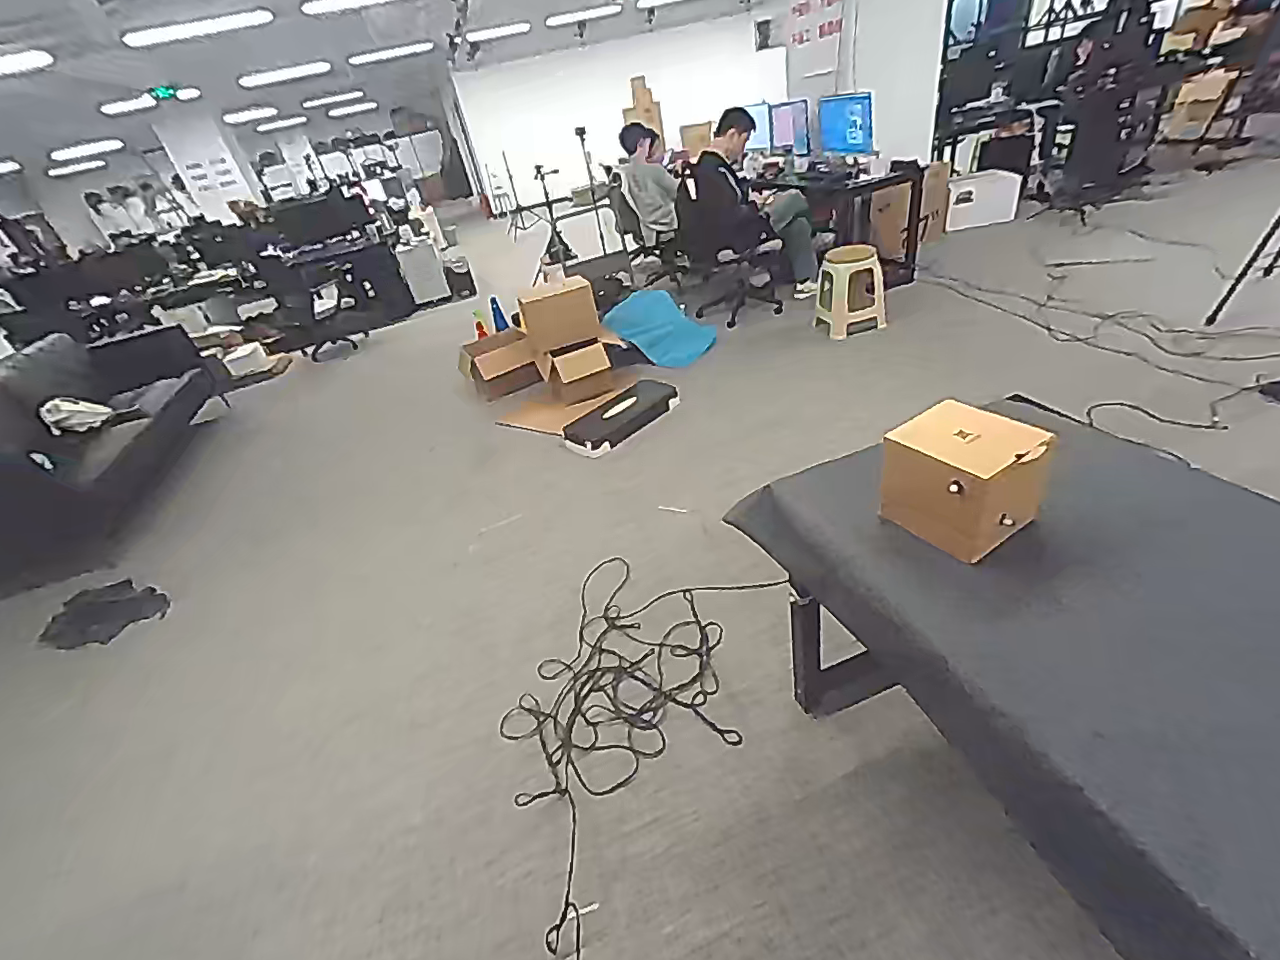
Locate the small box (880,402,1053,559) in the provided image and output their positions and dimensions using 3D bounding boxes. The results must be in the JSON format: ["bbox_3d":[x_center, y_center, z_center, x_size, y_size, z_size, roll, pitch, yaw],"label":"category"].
[{"bbox_3d":[0.518,-0.002,0.885,0.168,0.176,0.179,-27,37,-20],"label":"small box"}]
